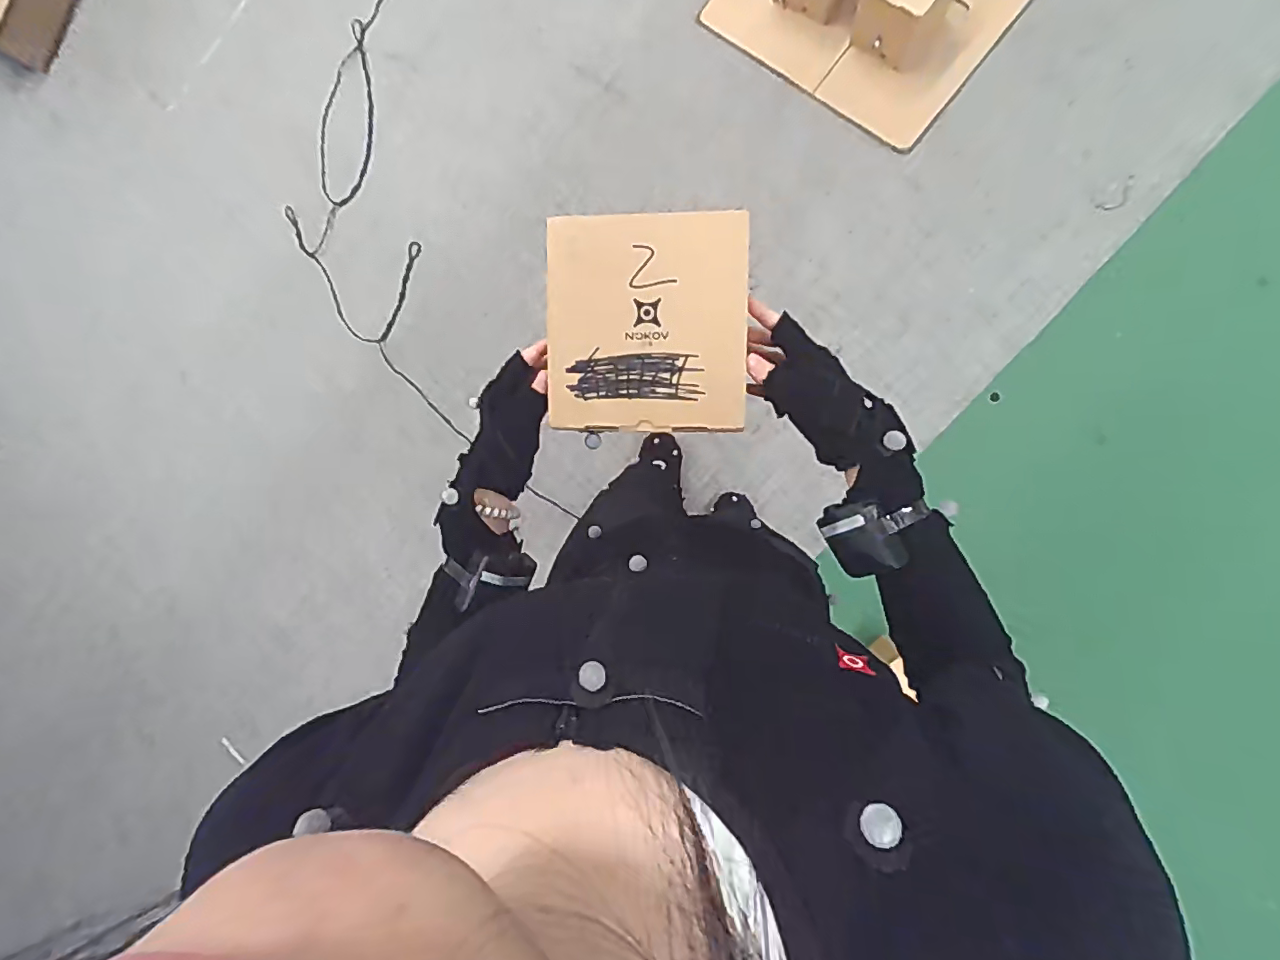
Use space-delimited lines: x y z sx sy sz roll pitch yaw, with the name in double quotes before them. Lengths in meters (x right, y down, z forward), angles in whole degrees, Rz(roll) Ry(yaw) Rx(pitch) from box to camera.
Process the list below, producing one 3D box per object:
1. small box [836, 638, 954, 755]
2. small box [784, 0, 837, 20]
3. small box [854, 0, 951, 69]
"small box" 0.603 0.511 1.307 0.179 0.176 0.168 -41 83 7
"small box" 0.451 -1.321 1.352 0.168 0.176 0.179 35 95 9
"small box" 0.648 -1.169 1.316 0.168 0.176 0.179 40 96 10
